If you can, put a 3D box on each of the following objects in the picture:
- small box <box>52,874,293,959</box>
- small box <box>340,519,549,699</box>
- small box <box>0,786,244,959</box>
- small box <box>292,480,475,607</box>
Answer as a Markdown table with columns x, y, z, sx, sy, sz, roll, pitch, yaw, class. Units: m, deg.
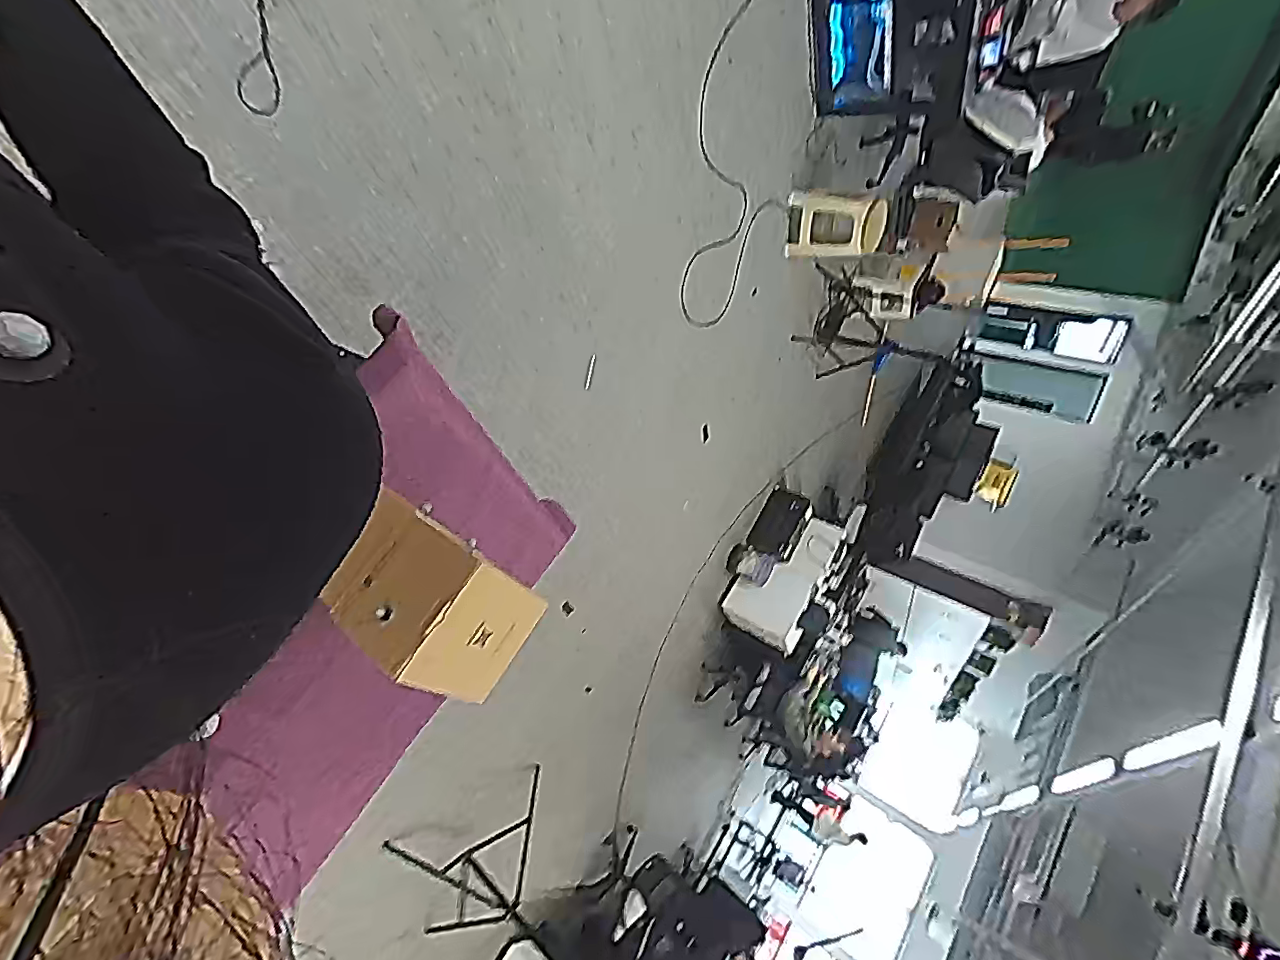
| x | y | z | sx | sy | sz | roll | pitch | yaw | class |
| --- | --- | --- | --- | --- | --- | --- | --- | --- | --- |
| -0.550 | 0.584 | 0.612 | 0.168 | 0.176 | 0.179 | -53 | 146 | -20 | small box |
| -0.268 | 0.174 | 0.751 | 0.168 | 0.176 | 0.179 | -56 | 148 | -14 | small box |
| -0.678 | 0.525 | 0.695 | 0.168 | 0.176 | 0.179 | -54 | 146 | -20 | small box |
| -0.390 | 0.119 | 0.844 | 0.168 | 0.176 | 0.179 | -55 | 147 | -16 | small box |
